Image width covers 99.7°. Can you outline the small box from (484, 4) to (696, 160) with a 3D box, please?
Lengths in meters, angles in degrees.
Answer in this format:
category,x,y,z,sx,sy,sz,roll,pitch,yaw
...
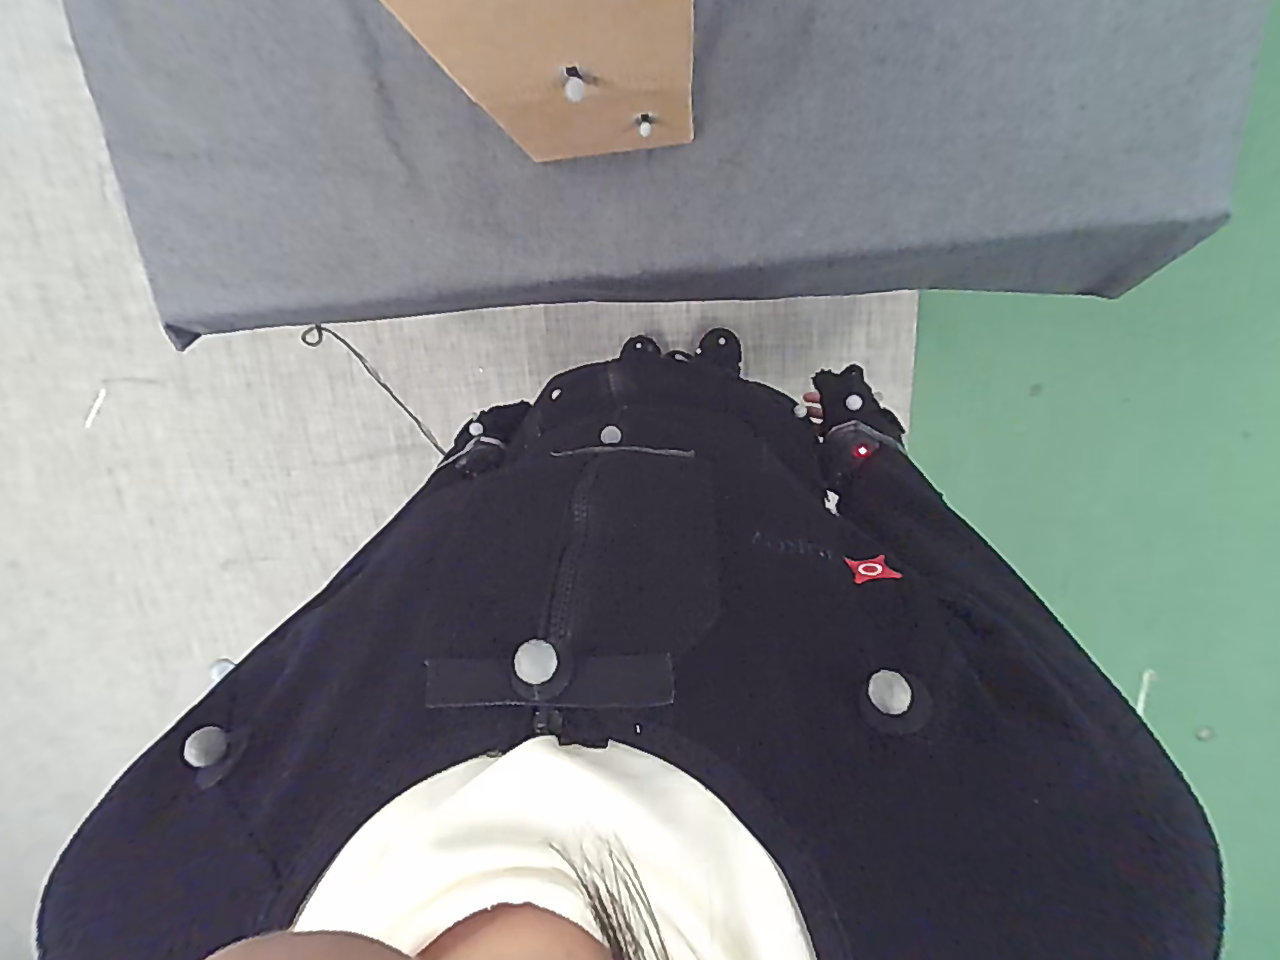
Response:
category,x,y,z,sx,sy,sz,roll,pitch,yaw
small box,-0.042,-0.416,0.493,0.179,0.176,0.168,-4,104,8

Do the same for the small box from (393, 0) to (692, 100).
category,x,y,z,sx,sy,sz,roll,pitch,yaw
small box,-0.056,-0.368,0.337,0.179,0.176,0.168,-2,105,5
